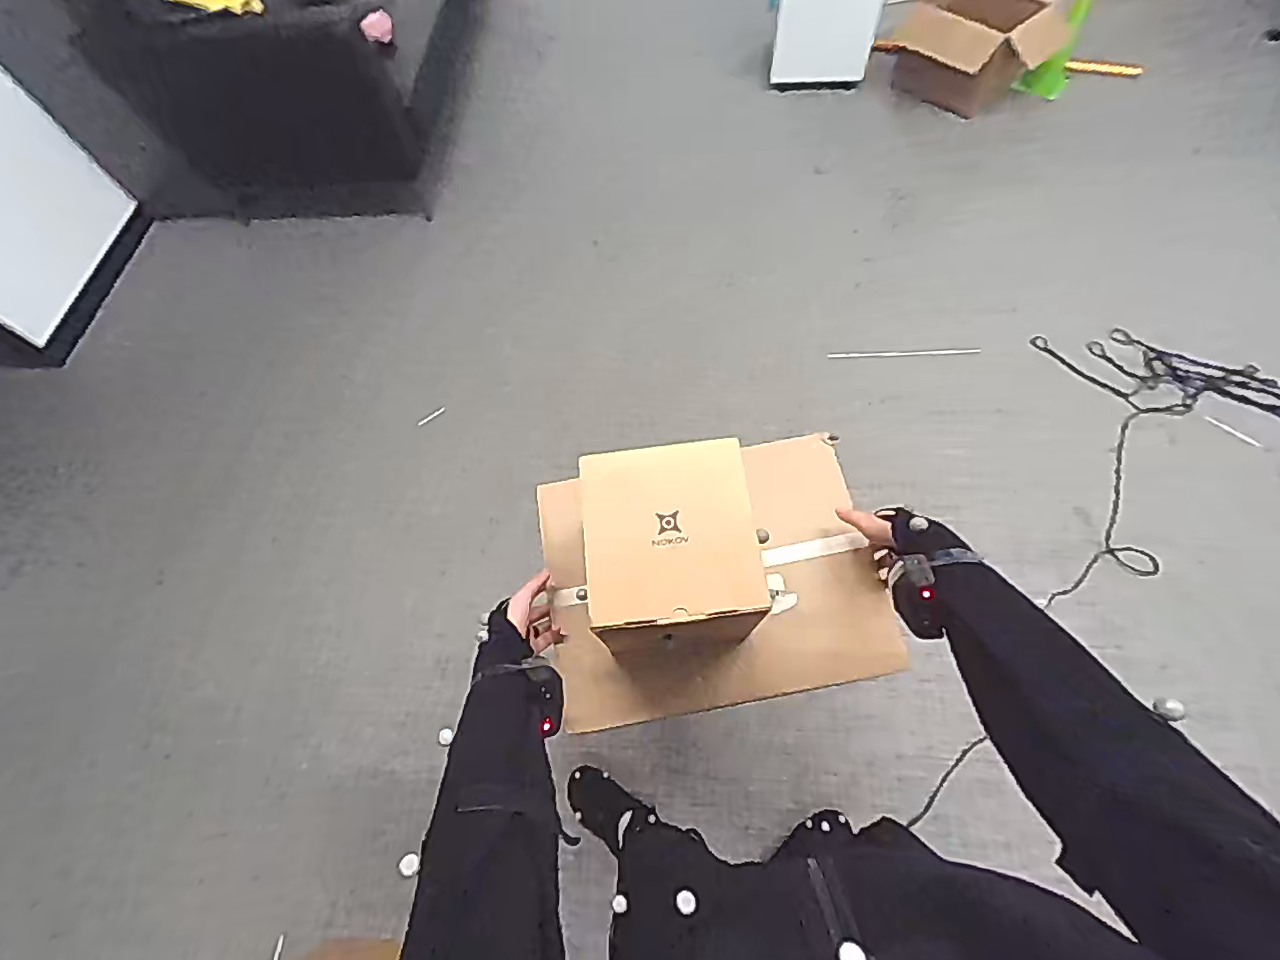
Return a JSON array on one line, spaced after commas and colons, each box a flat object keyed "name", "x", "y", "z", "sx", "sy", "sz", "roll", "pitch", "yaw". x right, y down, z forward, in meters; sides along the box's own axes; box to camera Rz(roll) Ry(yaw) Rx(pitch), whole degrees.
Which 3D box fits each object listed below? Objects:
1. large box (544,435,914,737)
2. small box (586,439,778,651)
[{"name": "large box", "x": 0.099, "y": 0.172, "z": 0.802, "sx": 0.408, "sy": 0.320, "sz": 0.320, "roll": -10, "pitch": 67, "yaw": -1}, {"name": "small box", "x": 0.037, "y": 0.078, "z": 0.581, "sx": 0.168, "sy": 0.176, "sz": 0.179, "roll": -7, "pitch": 67, "yaw": 1}]
